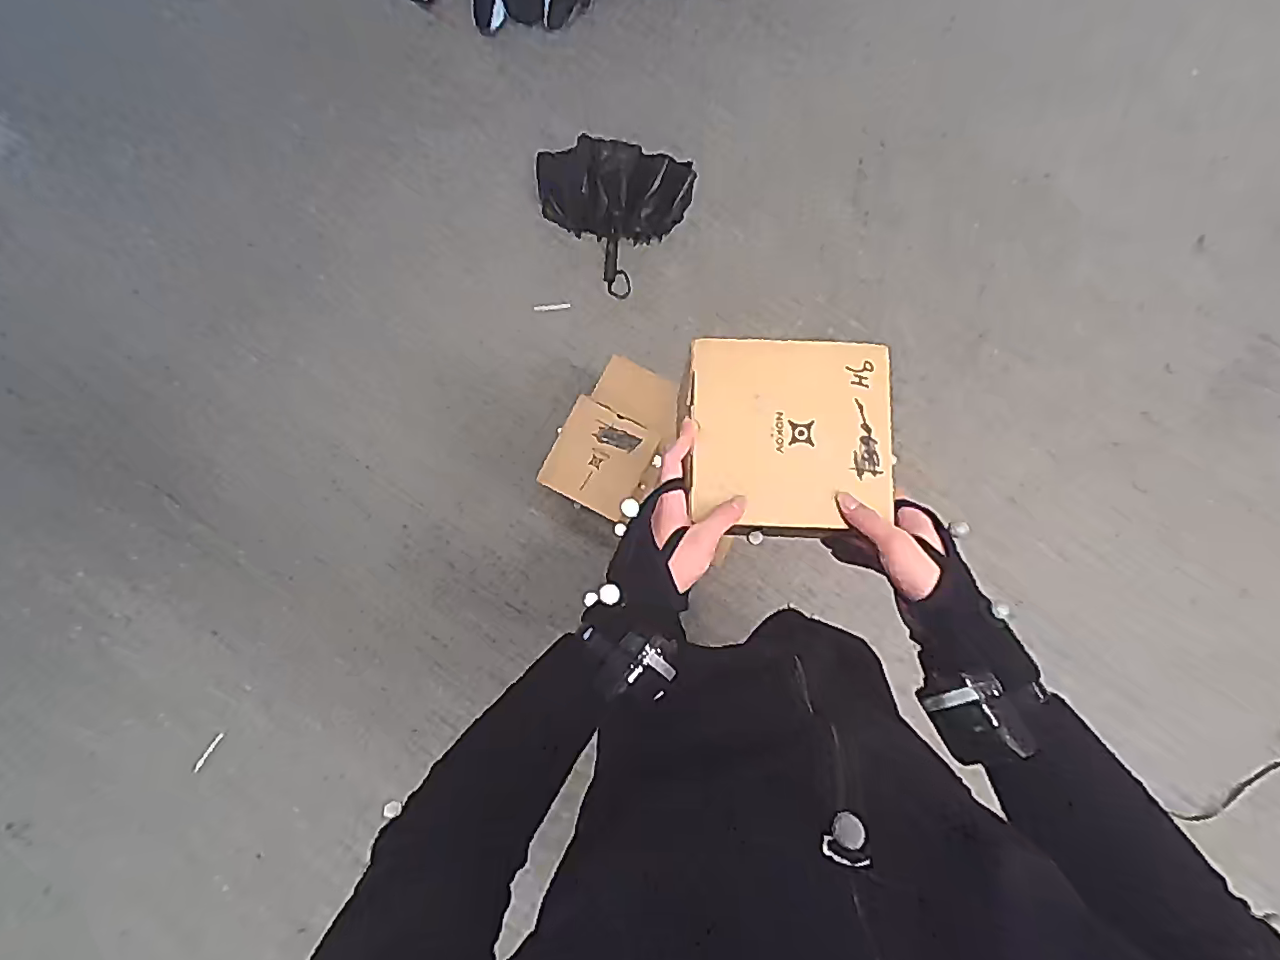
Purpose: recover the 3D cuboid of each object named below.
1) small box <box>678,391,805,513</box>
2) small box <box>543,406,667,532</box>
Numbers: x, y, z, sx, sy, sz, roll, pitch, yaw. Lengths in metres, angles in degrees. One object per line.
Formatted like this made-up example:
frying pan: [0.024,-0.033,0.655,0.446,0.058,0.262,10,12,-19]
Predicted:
small box: [0.186,-0.044,1.043,0.179,0.176,0.168,23,81,3]
small box: [-0.064,-0.017,1.037,0.168,0.176,0.179,28,88,2]
